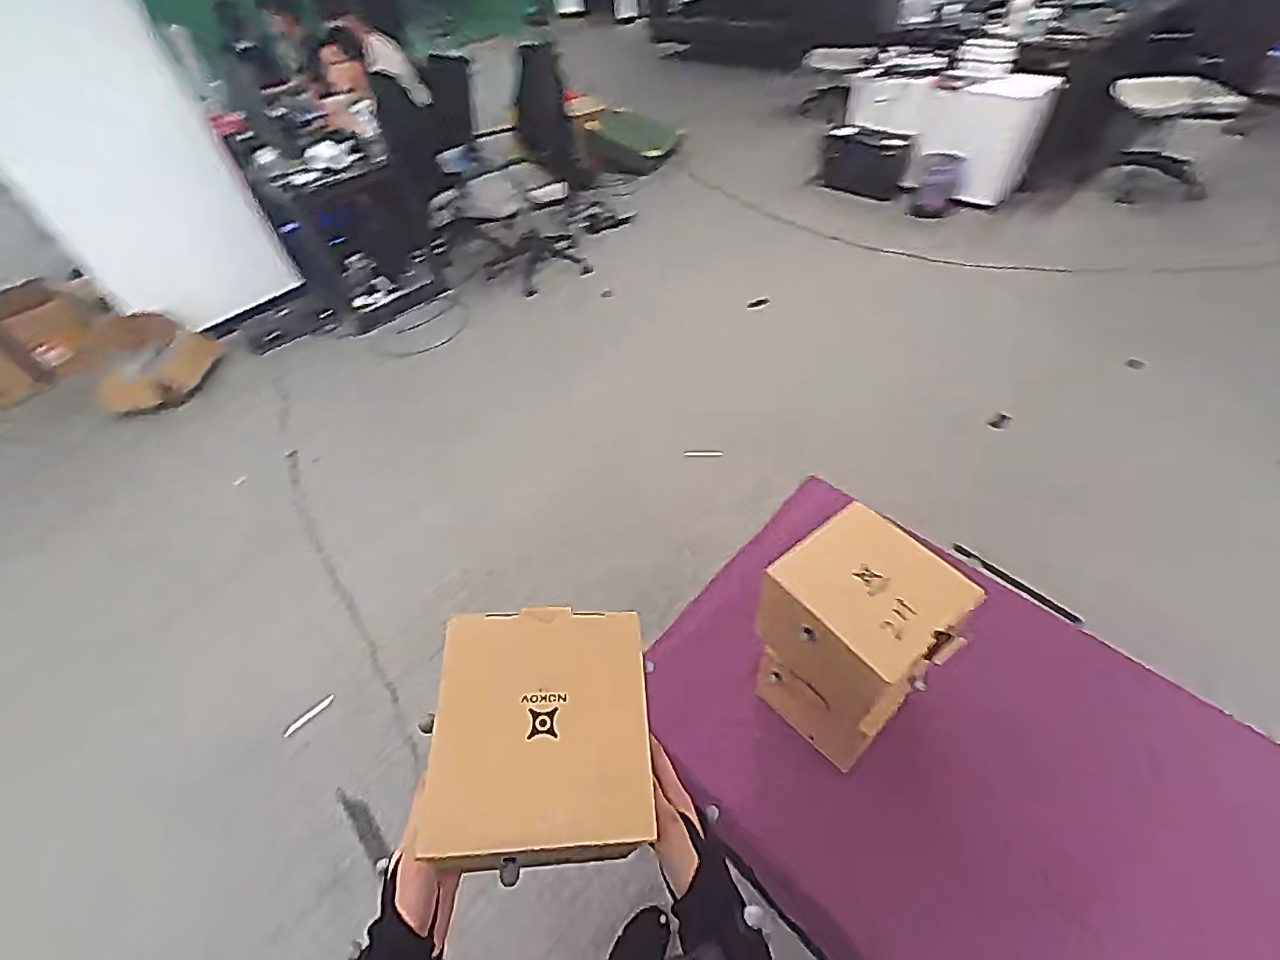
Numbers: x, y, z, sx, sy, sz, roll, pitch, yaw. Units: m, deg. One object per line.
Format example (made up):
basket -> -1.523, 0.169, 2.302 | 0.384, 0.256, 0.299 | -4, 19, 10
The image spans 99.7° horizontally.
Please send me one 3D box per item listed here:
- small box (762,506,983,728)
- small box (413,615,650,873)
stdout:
small box -> 0.273, 0.173, 0.680 | 0.168, 0.176, 0.179 | -31, 53, -19
small box -> -0.089, 0.238, 0.485 | 0.168, 0.176, 0.179 | 1, 50, -10
